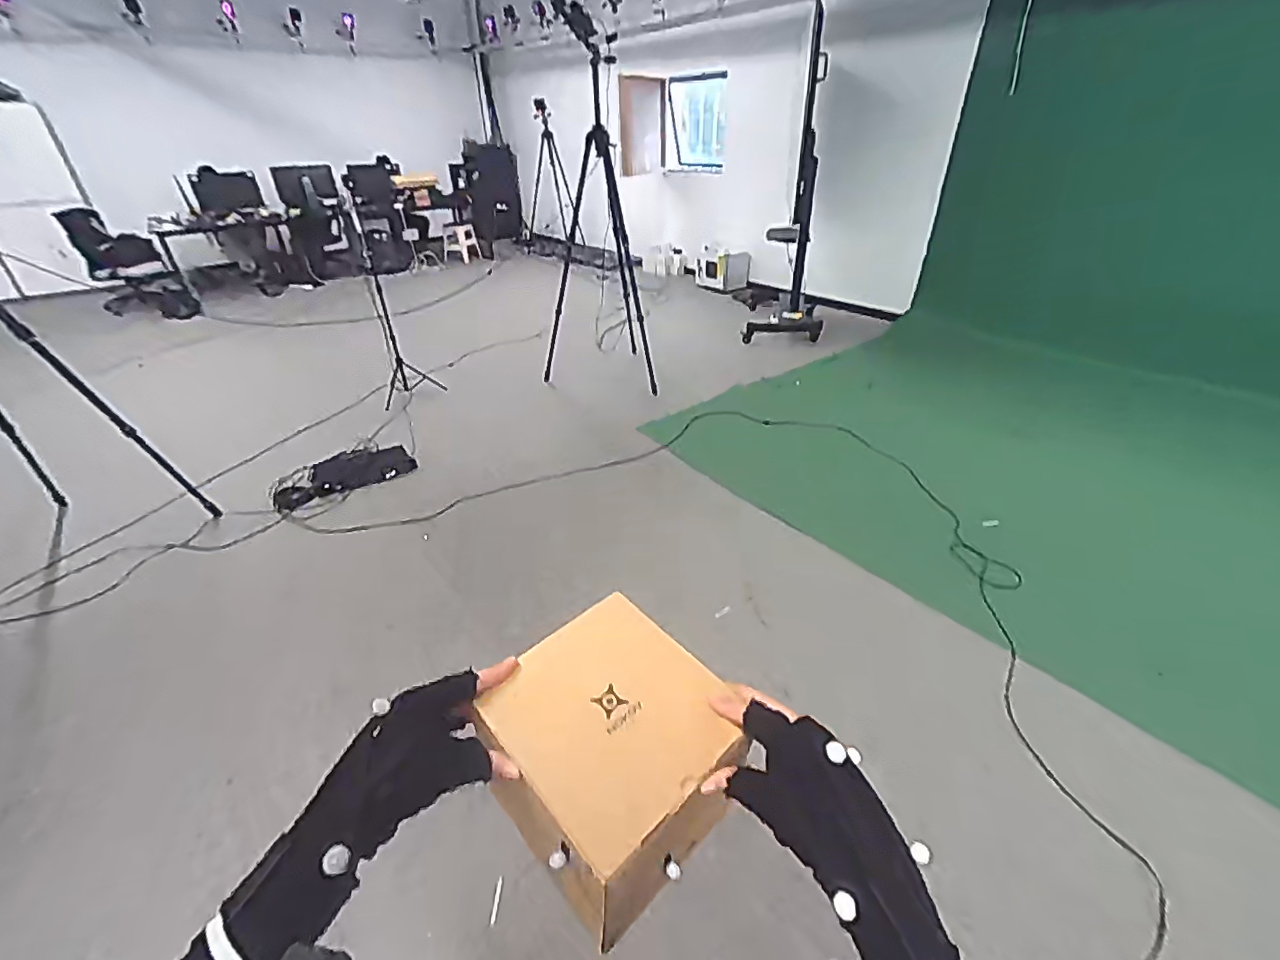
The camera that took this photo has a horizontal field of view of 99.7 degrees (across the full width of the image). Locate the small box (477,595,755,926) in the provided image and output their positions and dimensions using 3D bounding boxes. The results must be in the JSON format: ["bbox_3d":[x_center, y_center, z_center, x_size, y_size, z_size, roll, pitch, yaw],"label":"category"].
[{"bbox_3d":[-0.024,0.247,0.494,0.168,0.176,0.179,-30,47,-35],"label":"small box"}]
